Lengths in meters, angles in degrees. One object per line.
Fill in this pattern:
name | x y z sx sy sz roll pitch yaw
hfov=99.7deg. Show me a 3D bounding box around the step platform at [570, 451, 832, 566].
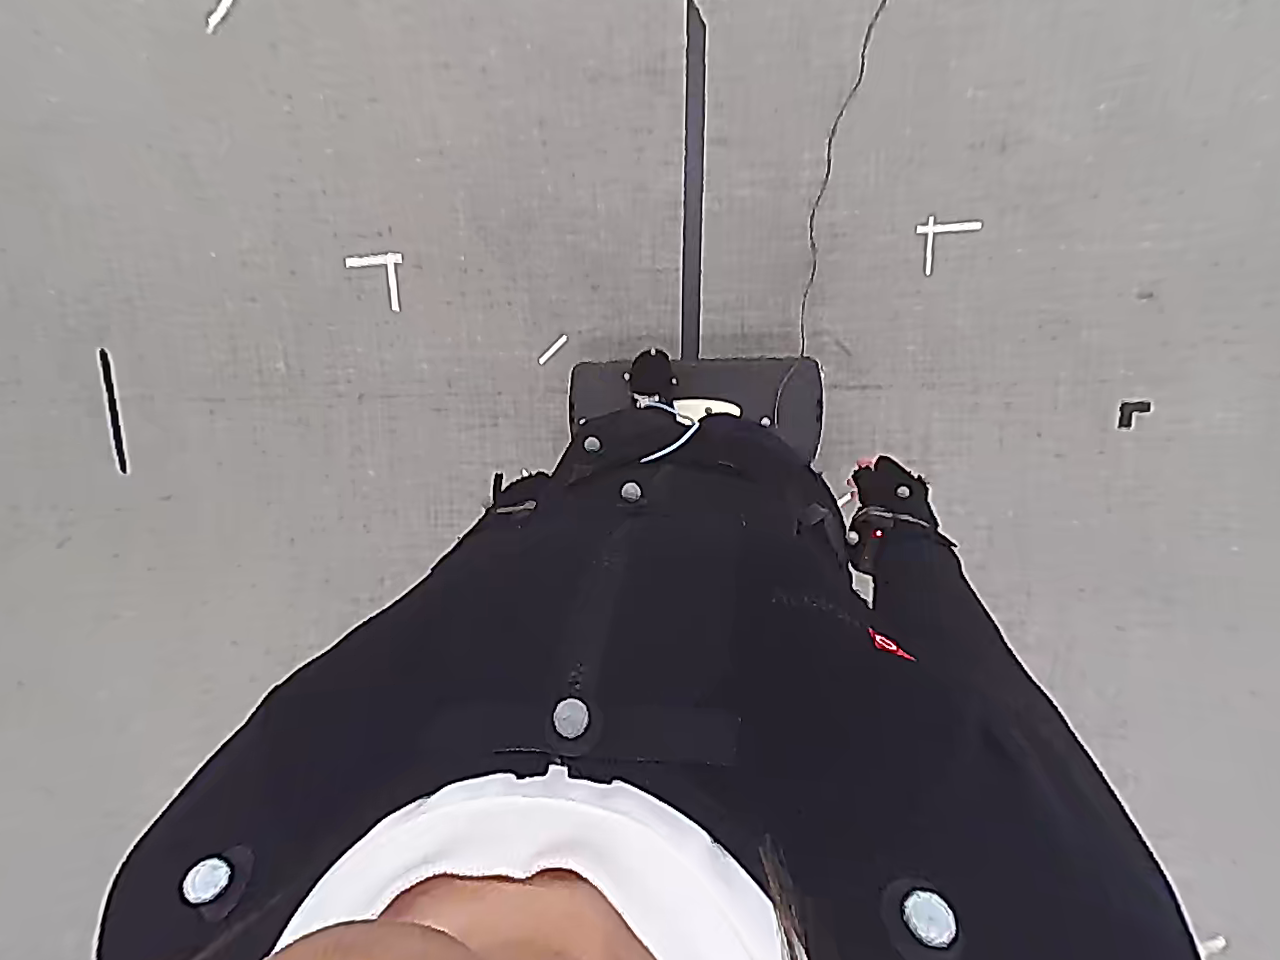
step platform | 0.156 0.074 1.454 0.684 0.204 0.286 0 98 8
